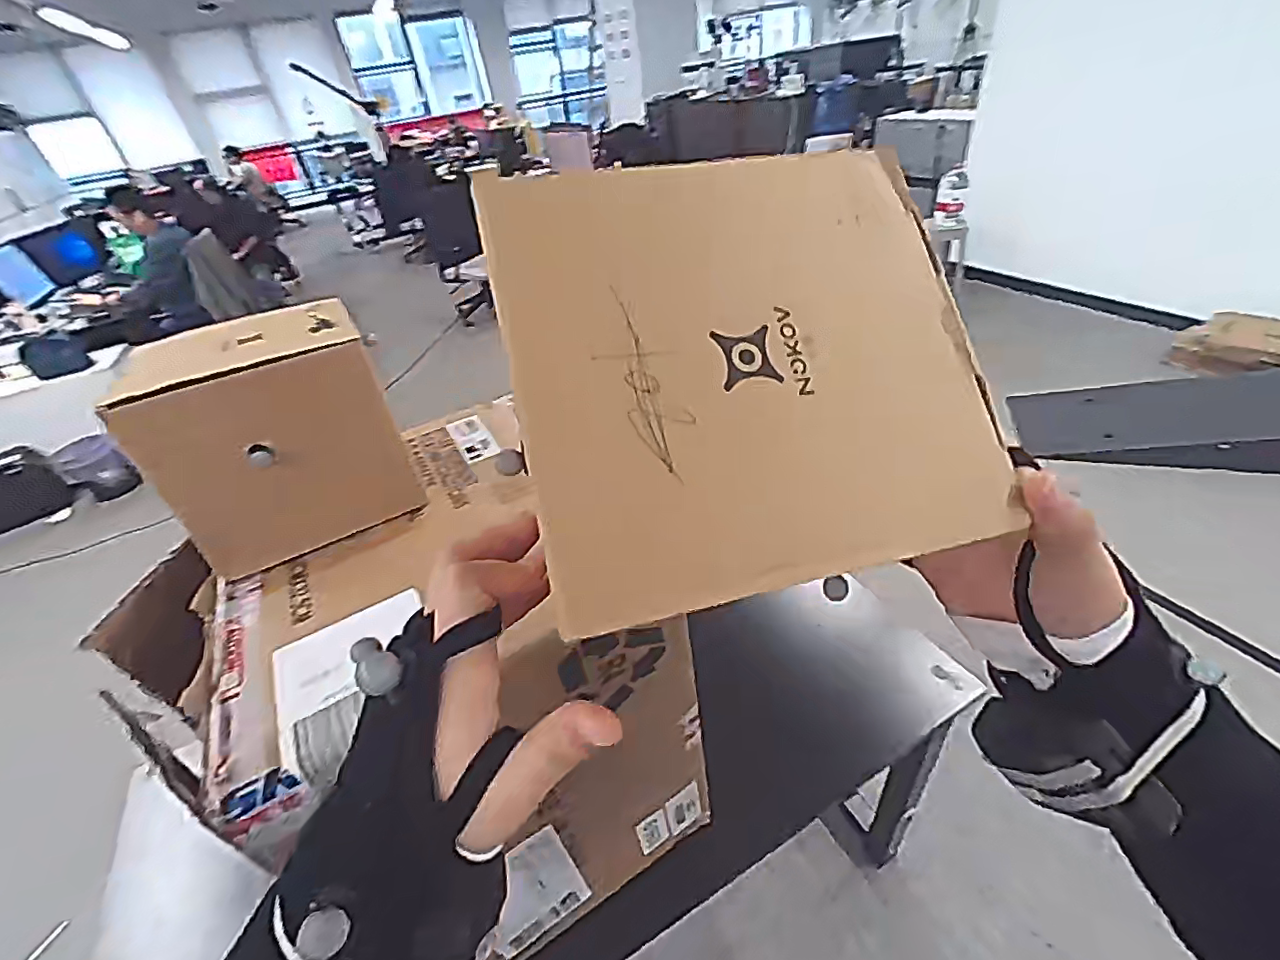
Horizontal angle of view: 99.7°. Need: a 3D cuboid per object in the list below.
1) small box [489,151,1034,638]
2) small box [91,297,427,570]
[{"bbox_3d":[0.033,-0.026,0.272,0.179,0.176,0.168,-11,78,-10],"label":"small box"},{"bbox_3d":[-0.325,-0.048,0.496,0.179,0.176,0.168,-25,38,-21],"label":"small box"}]
